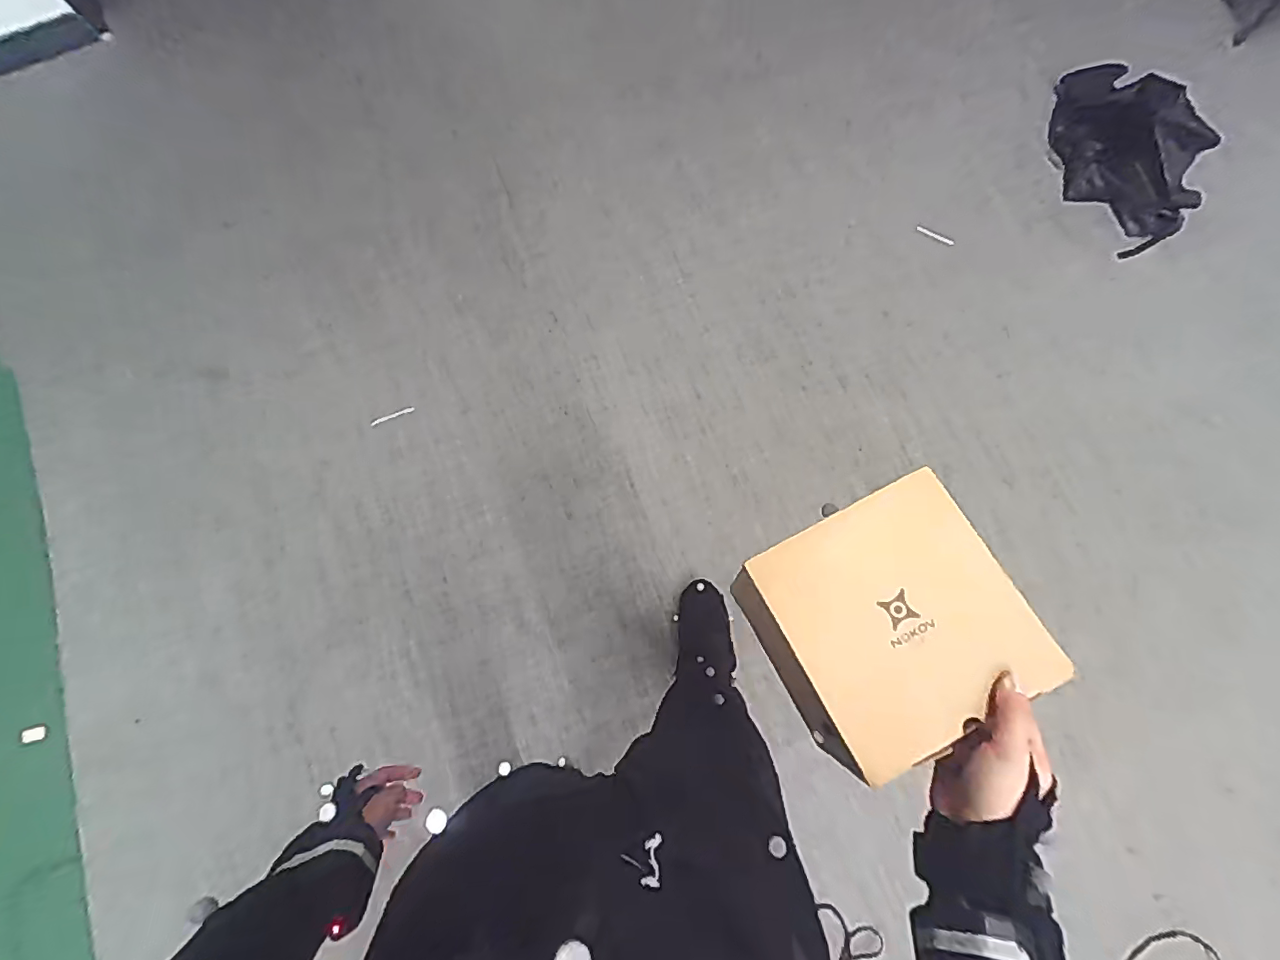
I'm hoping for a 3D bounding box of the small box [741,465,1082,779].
[{"bbox_3d":[0.203,0.119,0.469,0.168,0.176,0.179,-27,73,-4],"label":"small box"}]
